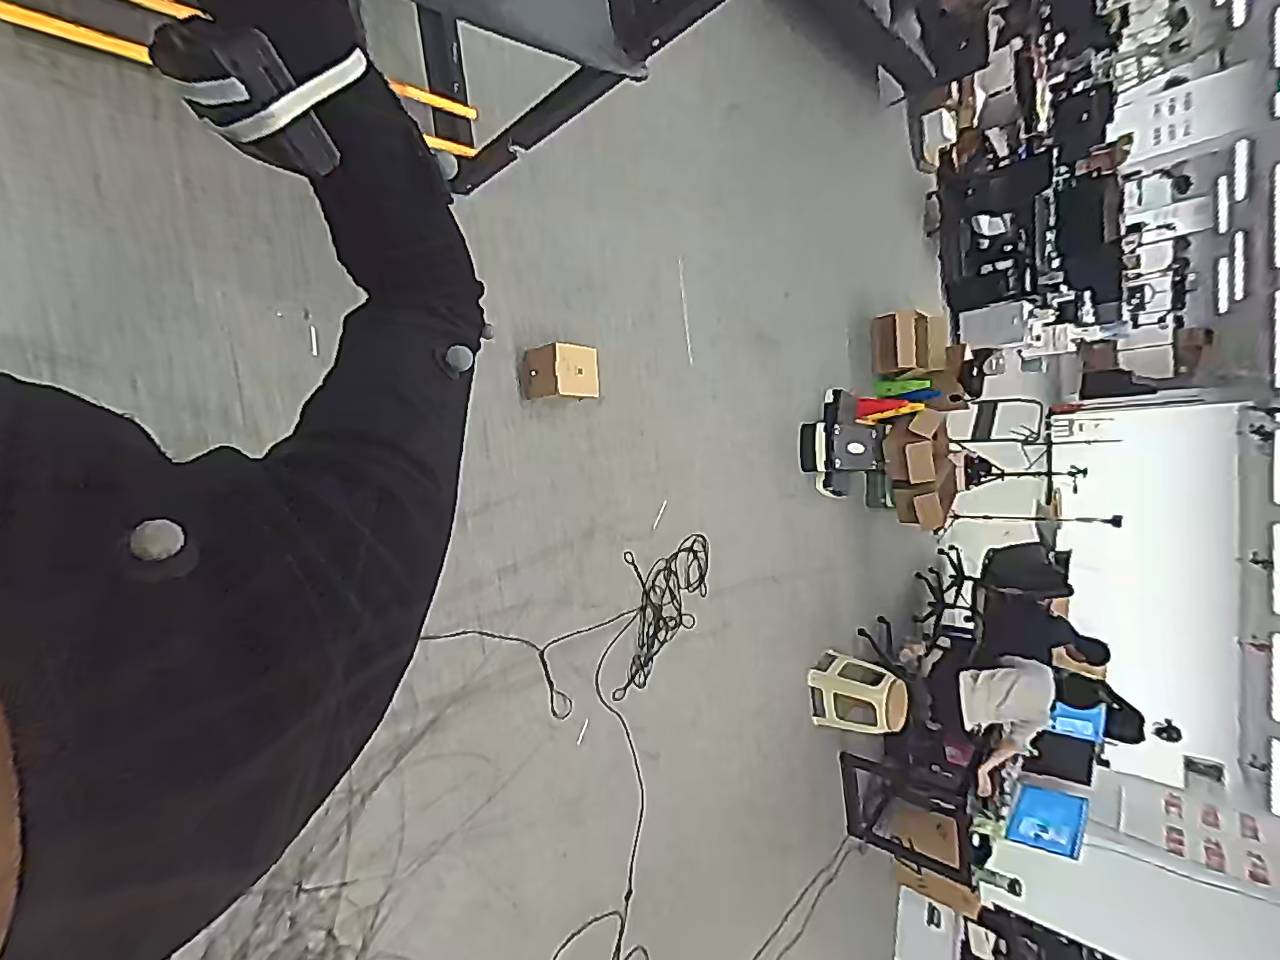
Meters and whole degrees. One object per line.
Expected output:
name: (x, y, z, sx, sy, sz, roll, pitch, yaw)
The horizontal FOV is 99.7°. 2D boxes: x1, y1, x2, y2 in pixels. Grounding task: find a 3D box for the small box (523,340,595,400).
small box: (-0.273, -0.363, 1.815, 0.179, 0.176, 0.168, -5, 93, -46)
